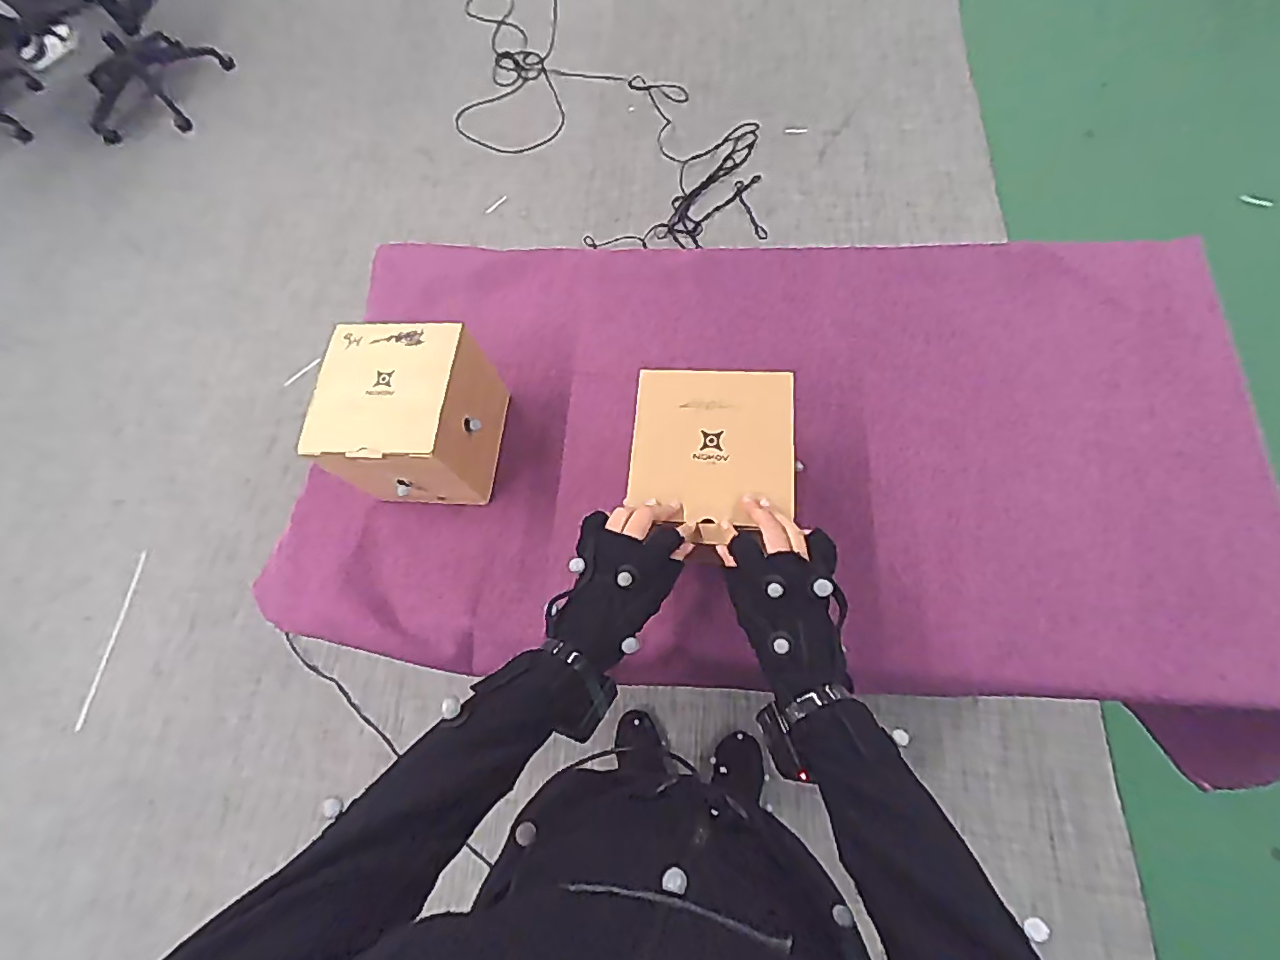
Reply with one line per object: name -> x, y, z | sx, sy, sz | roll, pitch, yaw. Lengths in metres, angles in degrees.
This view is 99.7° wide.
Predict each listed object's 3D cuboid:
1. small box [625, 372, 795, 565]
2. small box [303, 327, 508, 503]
small box -> 0.084, -0.005, 0.626 | 0.168, 0.176, 0.179 | 3, 69, 8
small box -> -0.284, -0.076, 0.699 | 0.168, 0.176, 0.179 | 2, 69, 7
